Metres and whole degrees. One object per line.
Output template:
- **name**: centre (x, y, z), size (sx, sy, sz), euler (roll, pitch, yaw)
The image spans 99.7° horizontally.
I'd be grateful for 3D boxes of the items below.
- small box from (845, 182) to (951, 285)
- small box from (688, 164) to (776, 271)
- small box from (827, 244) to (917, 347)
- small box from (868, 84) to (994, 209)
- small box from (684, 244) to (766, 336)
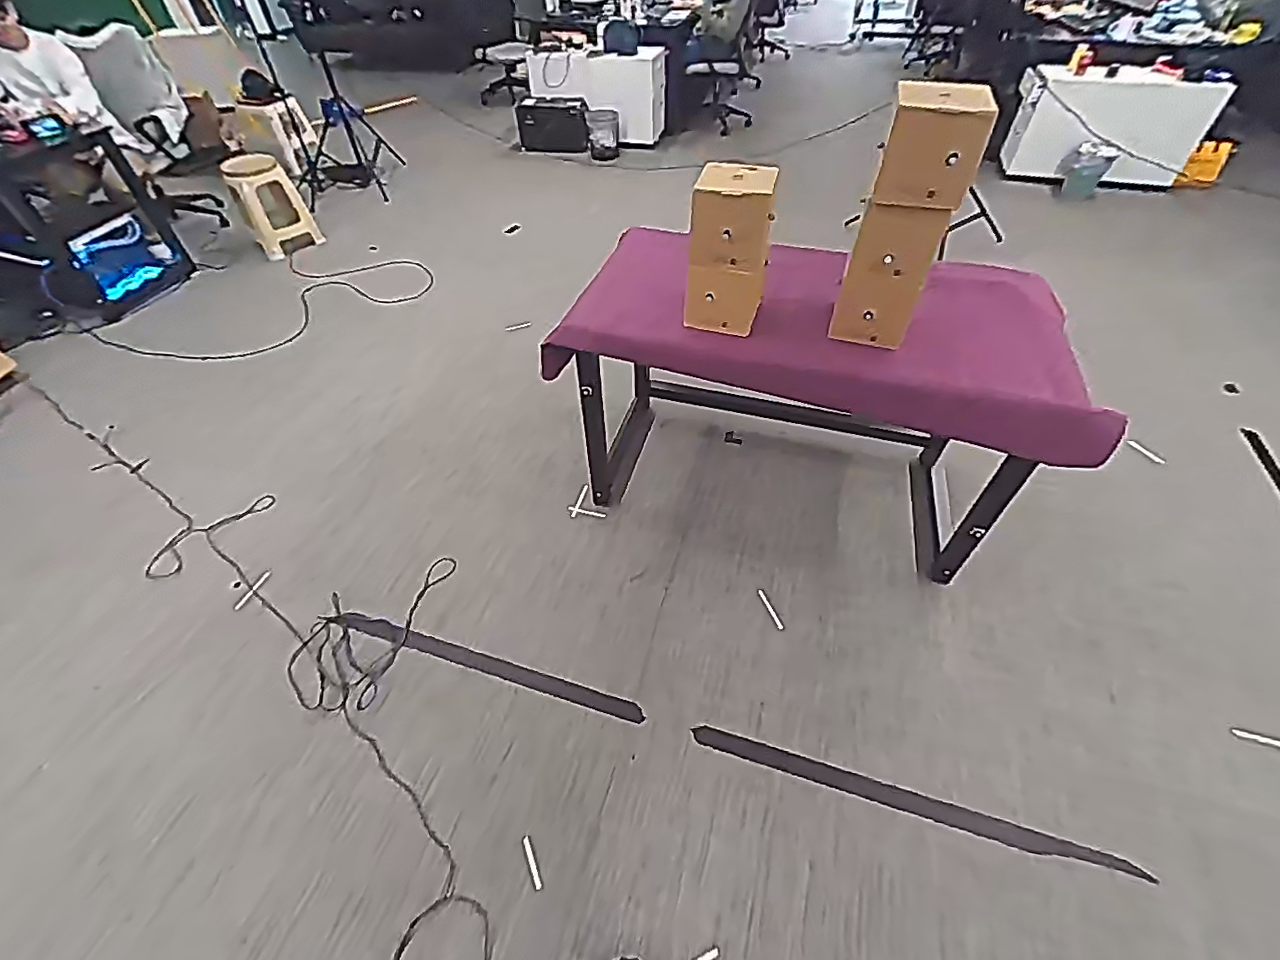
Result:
- **small box**: centre (0.562, -0.556, 1.189), size (0.168, 0.176, 0.179), euler (14, 50, 14)
- **small box**: centre (0.208, -0.598, 1.235), size (0.168, 0.176, 0.179), euler (11, 49, 10)
- **small box**: centre (0.560, -0.445, 1.310), size (0.168, 0.176, 0.179), euler (15, 50, 13)
- **small box**: centre (0.555, -0.649, 1.054), size (0.168, 0.176, 0.179), euler (12, 49, 11)
- **small box**: centre (0.209, -0.483, 1.352), size (0.168, 0.176, 0.179), euler (13, 48, 12)
